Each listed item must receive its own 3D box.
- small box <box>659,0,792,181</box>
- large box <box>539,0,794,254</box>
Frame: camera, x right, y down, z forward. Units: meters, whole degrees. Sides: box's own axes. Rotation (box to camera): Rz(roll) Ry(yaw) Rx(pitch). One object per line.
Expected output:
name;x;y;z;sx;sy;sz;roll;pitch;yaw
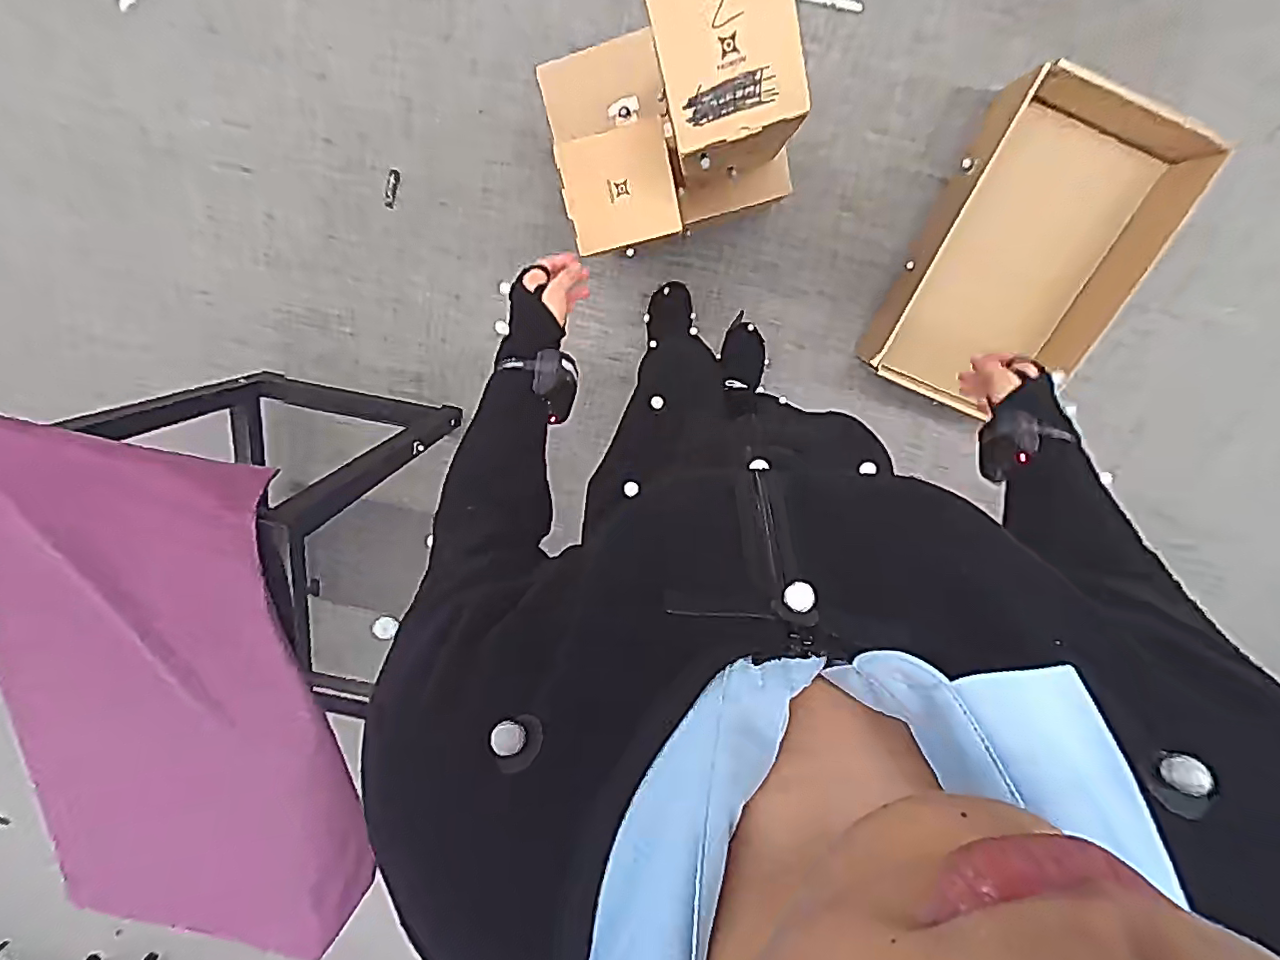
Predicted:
small box;0.133;-0.600;0.857;0.168;0.176;0.179;-13;111;12
large box;0.065;-0.676;1.099;0.408;0.320;0.320;-12;110;11
